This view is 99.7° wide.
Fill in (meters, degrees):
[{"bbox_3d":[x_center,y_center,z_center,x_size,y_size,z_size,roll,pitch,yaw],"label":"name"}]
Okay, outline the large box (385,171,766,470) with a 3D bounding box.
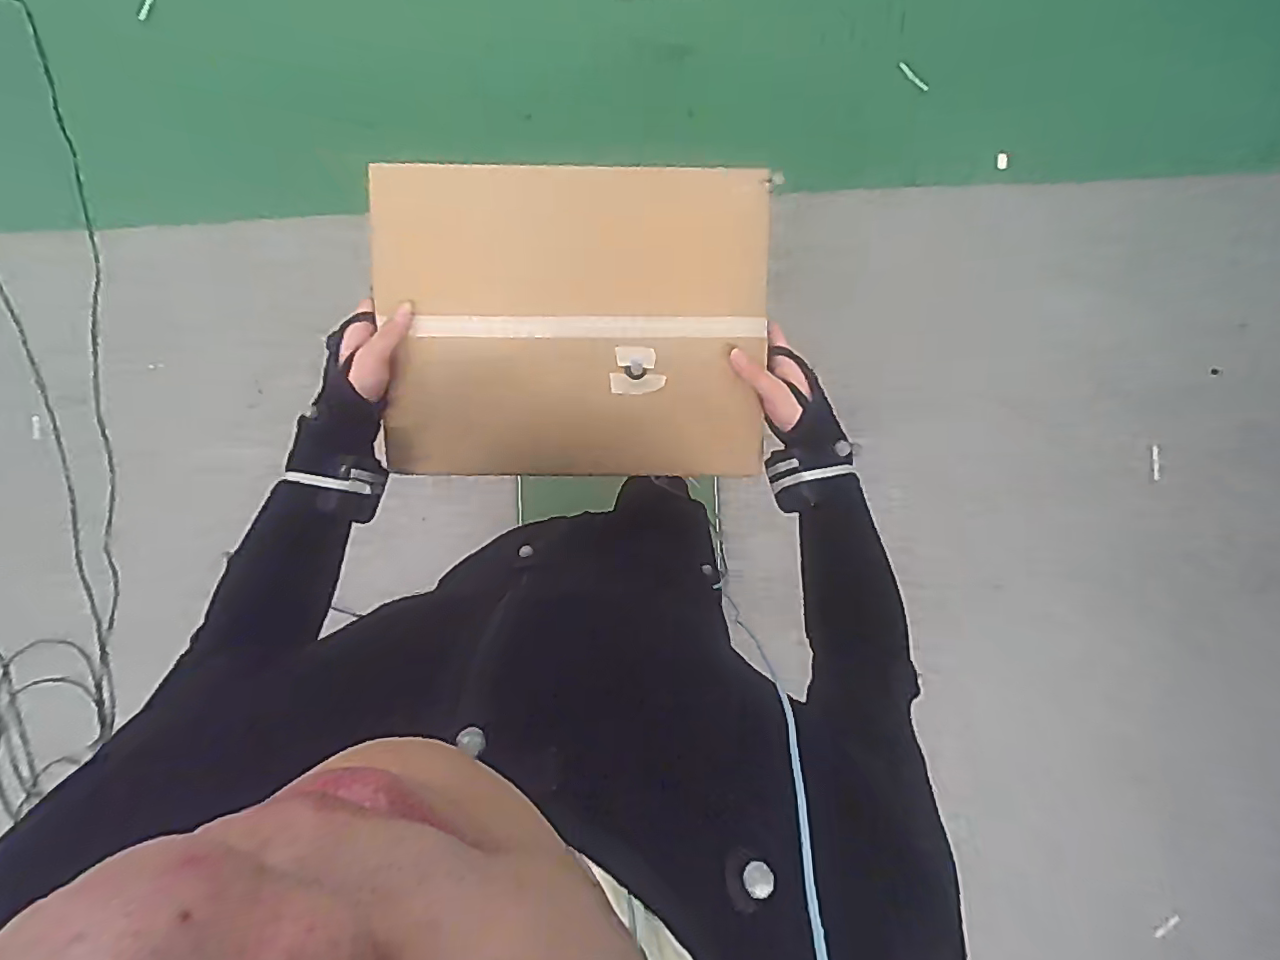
[{"bbox_3d":[-0.070,-0.186,0.727,0.408,0.320,0.320,0,98,-1],"label":"large box"}]
